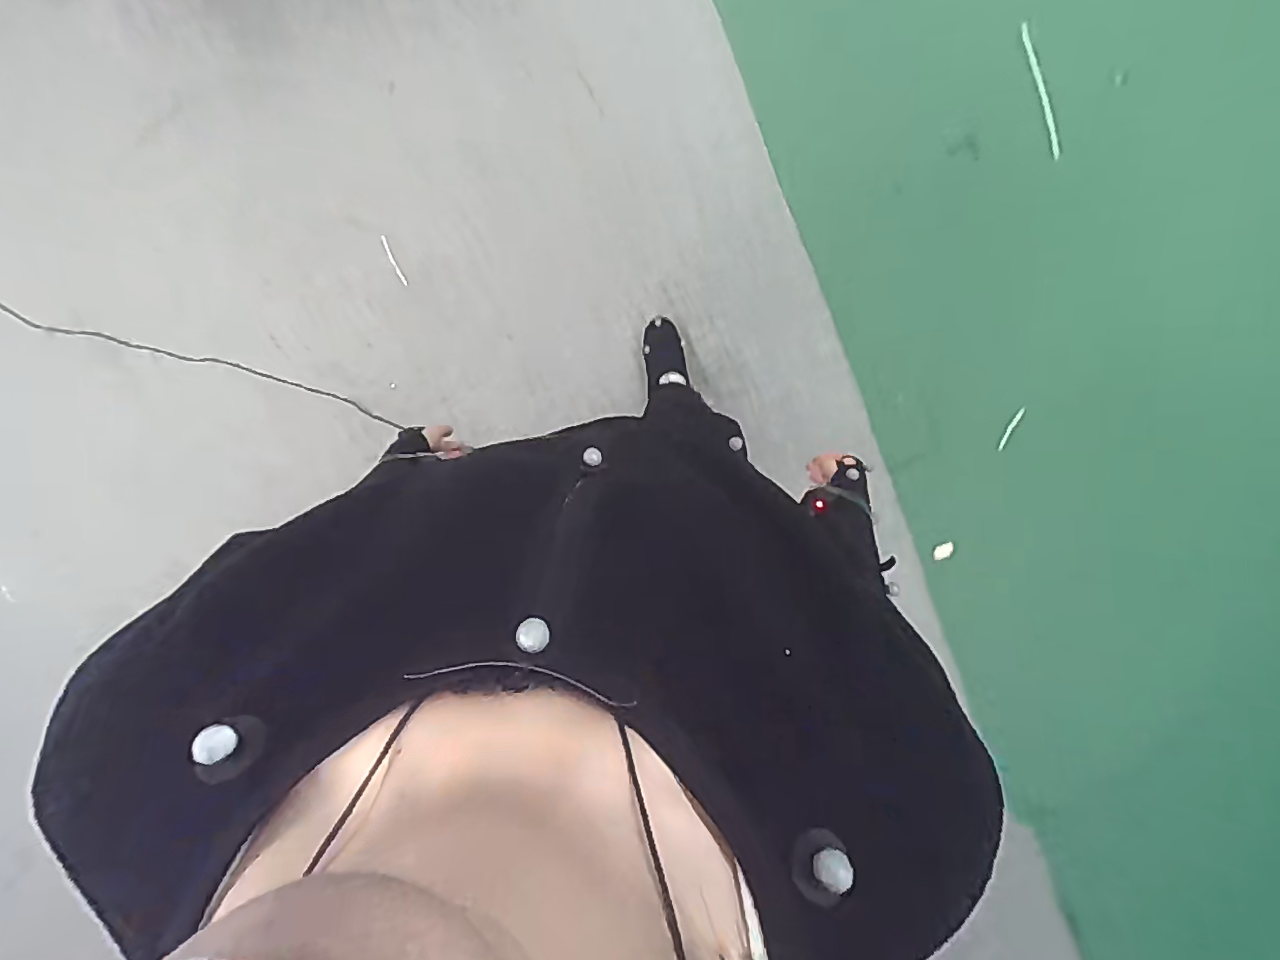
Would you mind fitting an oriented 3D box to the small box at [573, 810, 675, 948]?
[{"bbox_3d":[-0.034,0.904,1.241,0.179,0.176,0.168,-24,99,6],"label":"small box"}]
